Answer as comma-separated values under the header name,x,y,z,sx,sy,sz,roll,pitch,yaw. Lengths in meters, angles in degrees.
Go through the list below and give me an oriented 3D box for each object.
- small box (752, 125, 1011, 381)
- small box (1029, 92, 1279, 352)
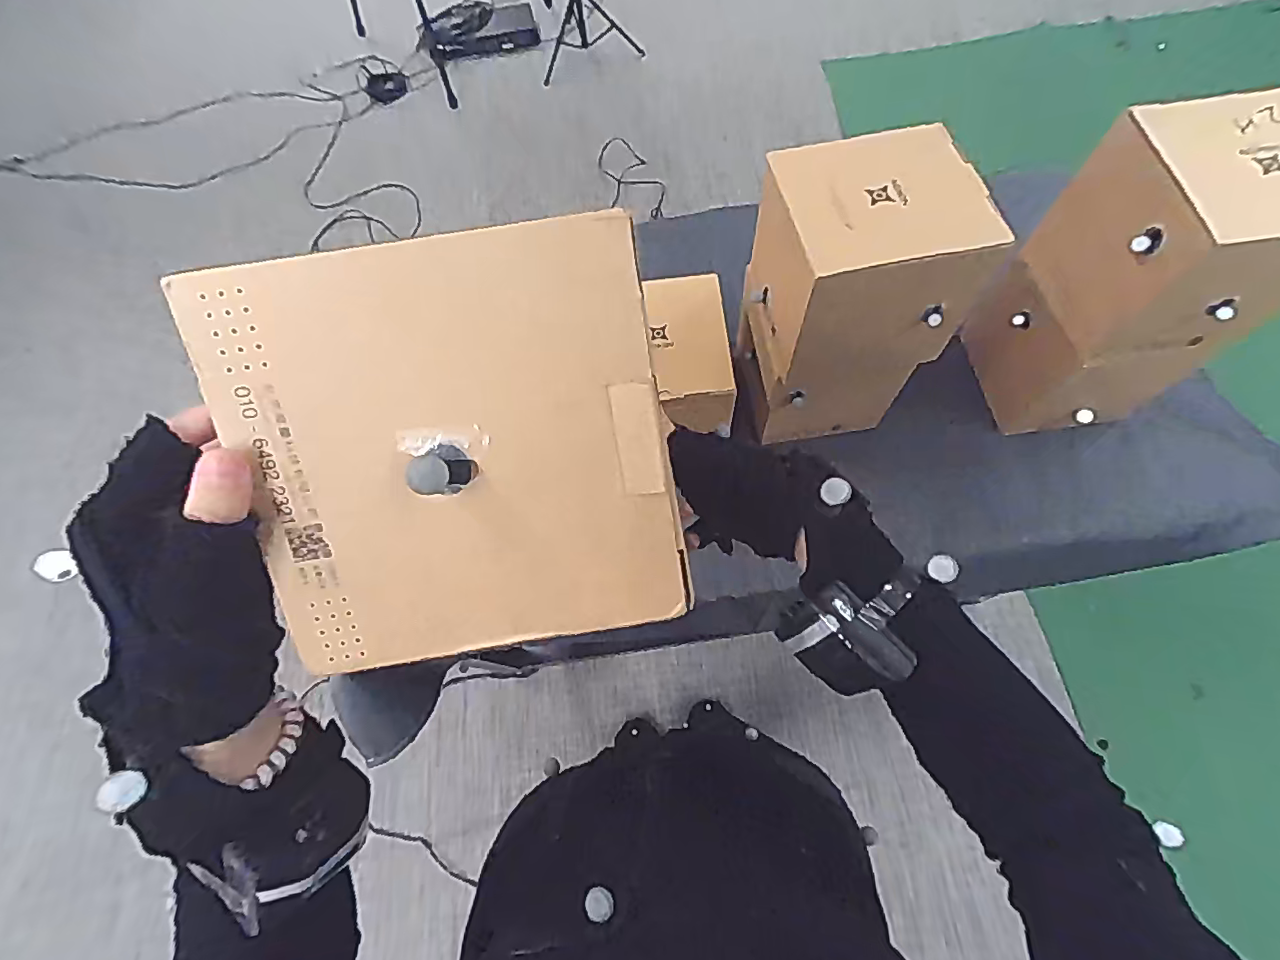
name,x,y,z,sx,sy,sz,roll,pitch,yaw
small box,0.229,-0.226,0.567,0.179,0.176,0.168,-10,65,1
small box,0.548,-0.245,0.548,0.168,0.176,0.179,-6,66,2
